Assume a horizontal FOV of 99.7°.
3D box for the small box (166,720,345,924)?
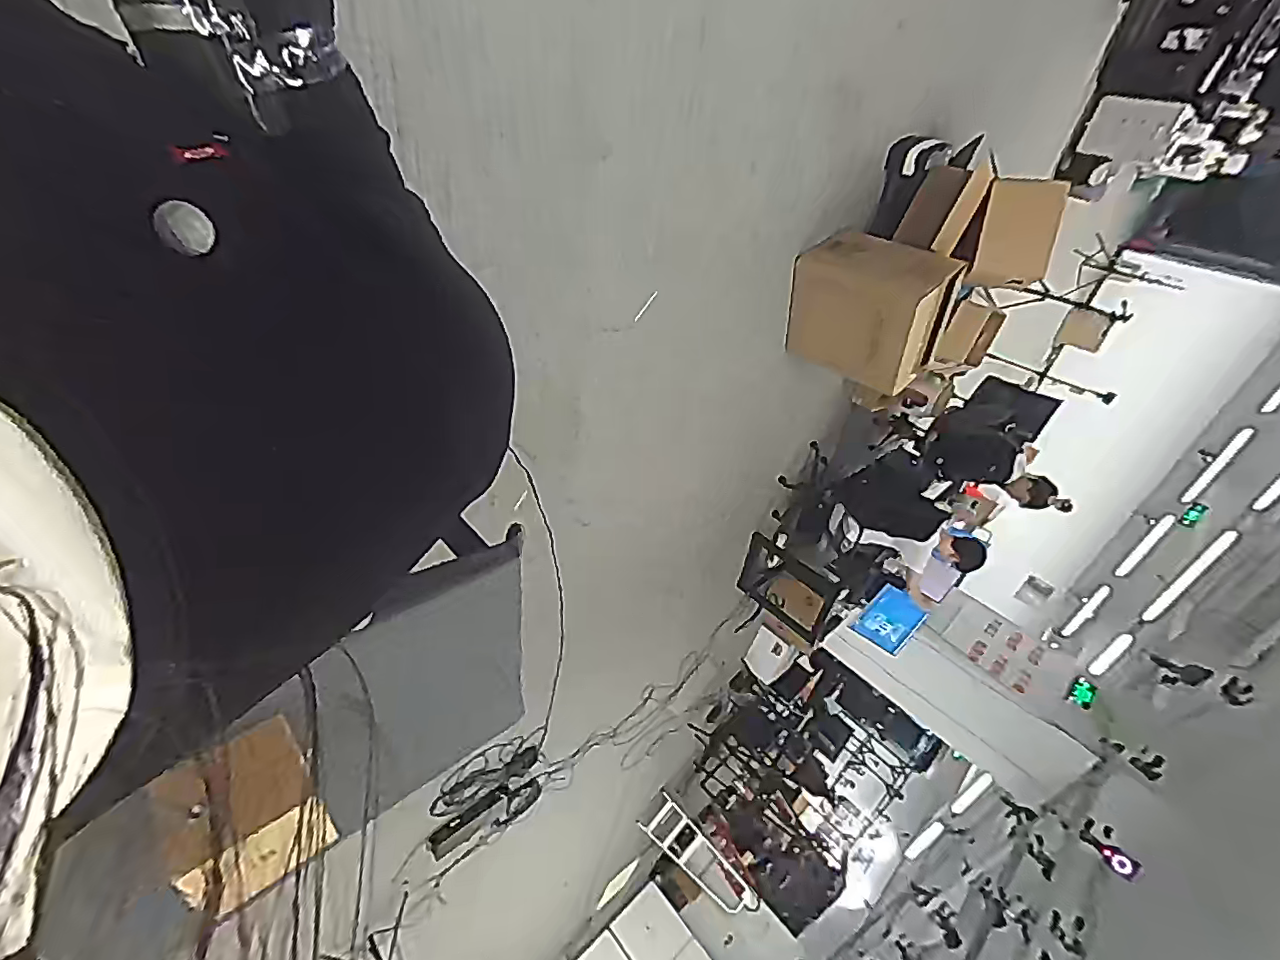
[{"bbox_3d":[-0.598,0.522,0.843,0.179,0.176,0.168,-27,140,-38],"label":"small box"}]
